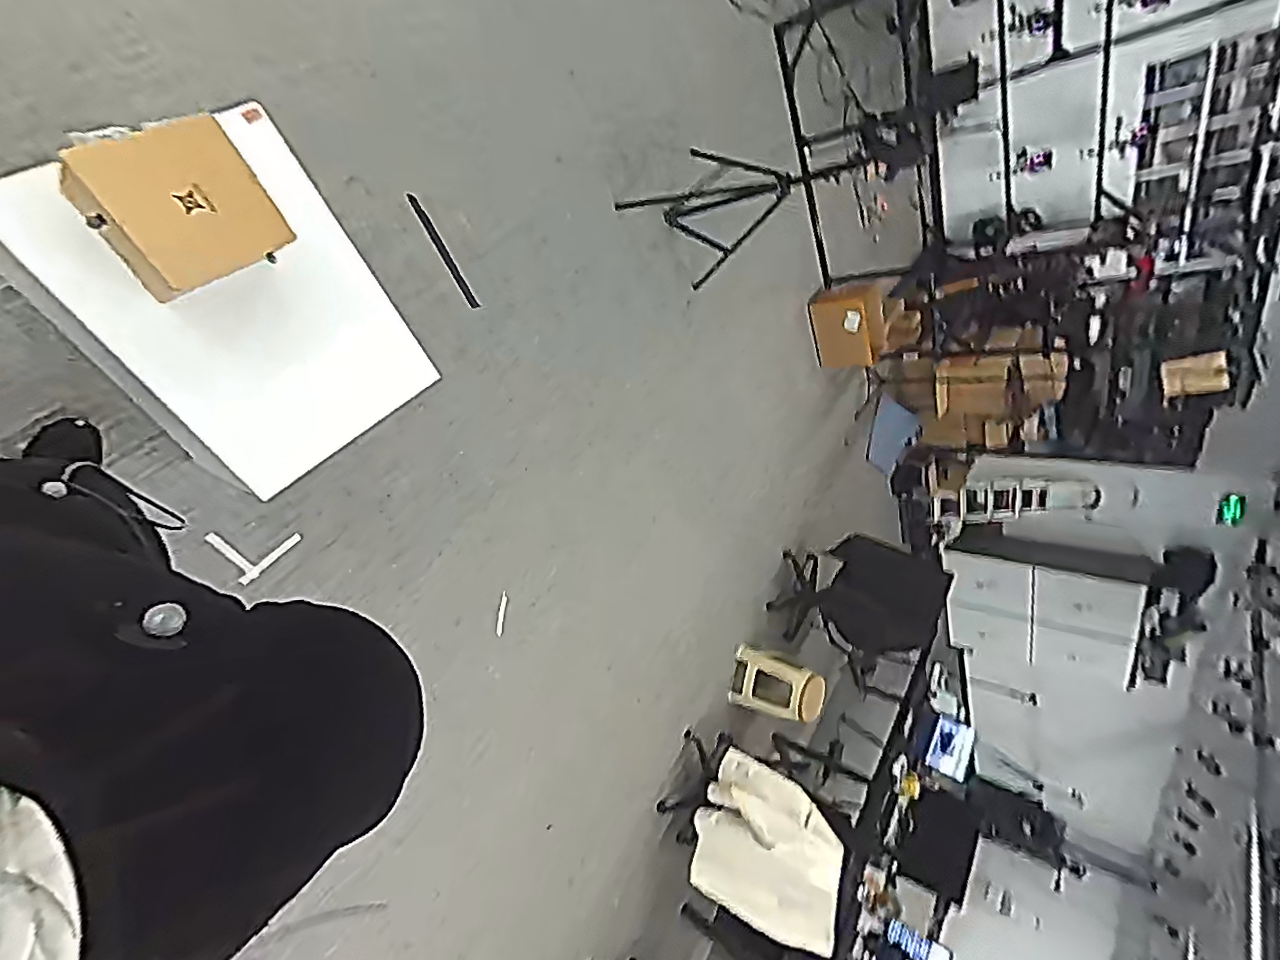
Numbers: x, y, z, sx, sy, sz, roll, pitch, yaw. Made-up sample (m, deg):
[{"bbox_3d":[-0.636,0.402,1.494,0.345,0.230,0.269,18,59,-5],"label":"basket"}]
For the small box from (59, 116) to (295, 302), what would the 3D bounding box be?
[{"bbox_3d":[-0.631,-0.362,0.746,0.179,0.176,0.168,-48,129,-32],"label":"small box"}]
